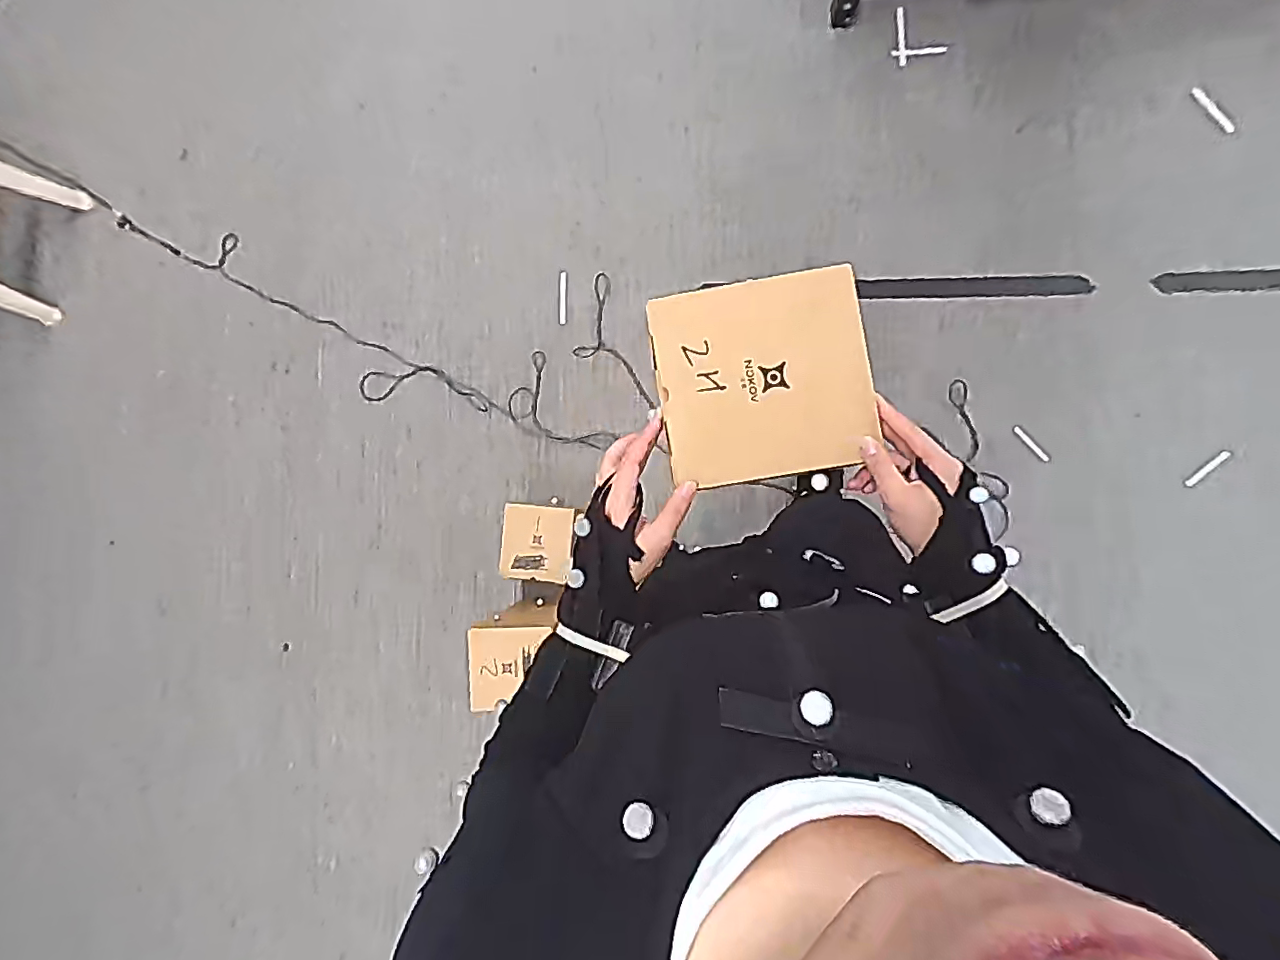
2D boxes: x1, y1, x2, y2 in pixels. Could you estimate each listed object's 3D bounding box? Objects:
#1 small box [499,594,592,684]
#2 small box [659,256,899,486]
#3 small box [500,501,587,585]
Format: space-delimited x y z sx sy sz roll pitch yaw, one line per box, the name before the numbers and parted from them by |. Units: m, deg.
small box | -0.223 0.379 1.308 0.179 0.176 0.168 -8 88 4
small box | 0.115 -0.087 0.516 0.179 0.176 0.168 -9 87 4
small box | -0.227 0.146 1.311 0.168 0.176 0.179 5 89 5
